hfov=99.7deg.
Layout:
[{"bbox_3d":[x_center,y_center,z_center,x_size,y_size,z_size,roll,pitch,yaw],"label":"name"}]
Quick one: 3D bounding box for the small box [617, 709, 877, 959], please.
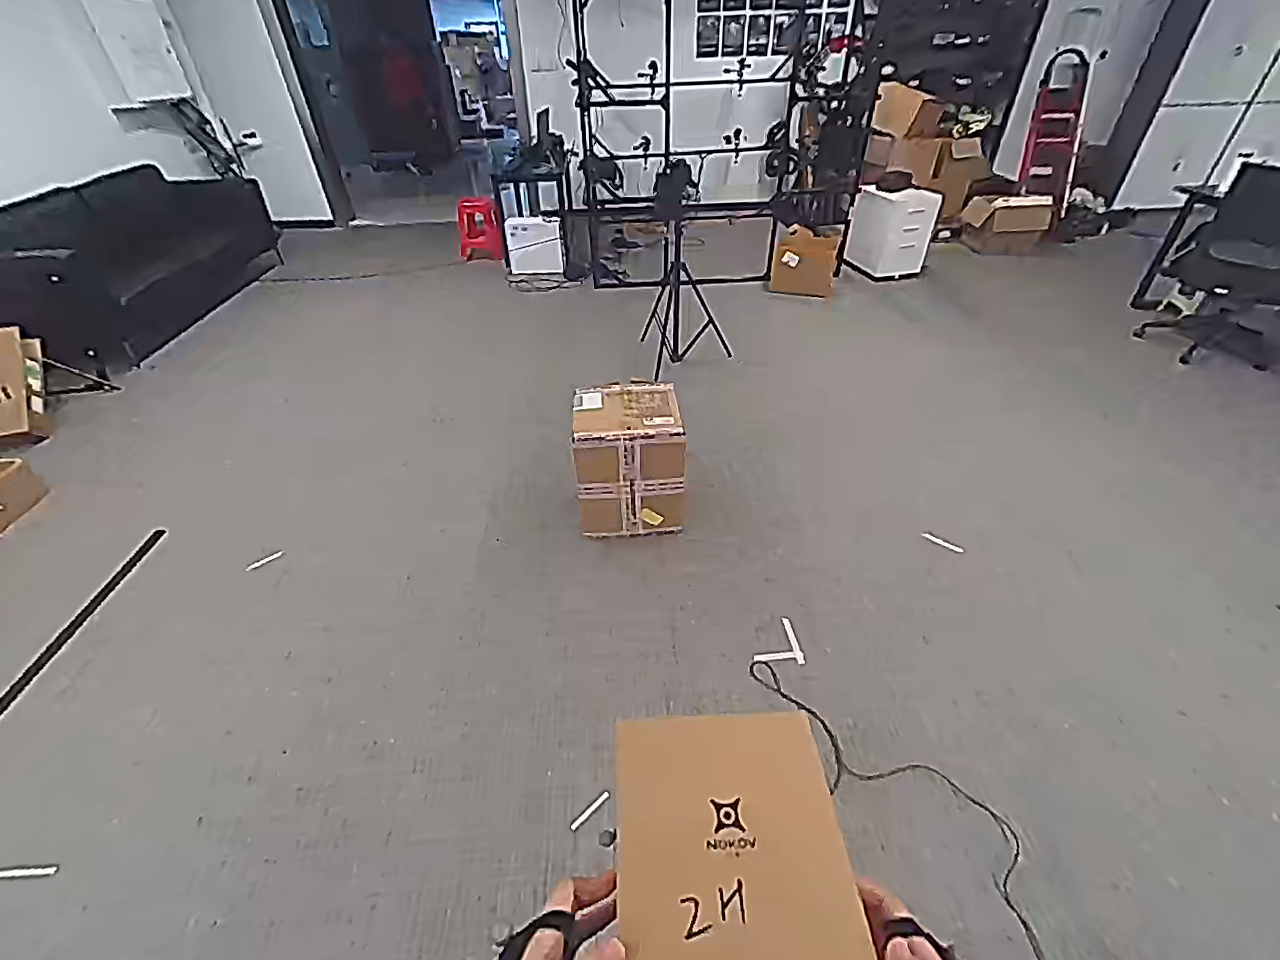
[{"bbox_3d":[0.065,0.316,0.447,0.168,0.176,0.179,-2,39,-1],"label":"small box"}]
